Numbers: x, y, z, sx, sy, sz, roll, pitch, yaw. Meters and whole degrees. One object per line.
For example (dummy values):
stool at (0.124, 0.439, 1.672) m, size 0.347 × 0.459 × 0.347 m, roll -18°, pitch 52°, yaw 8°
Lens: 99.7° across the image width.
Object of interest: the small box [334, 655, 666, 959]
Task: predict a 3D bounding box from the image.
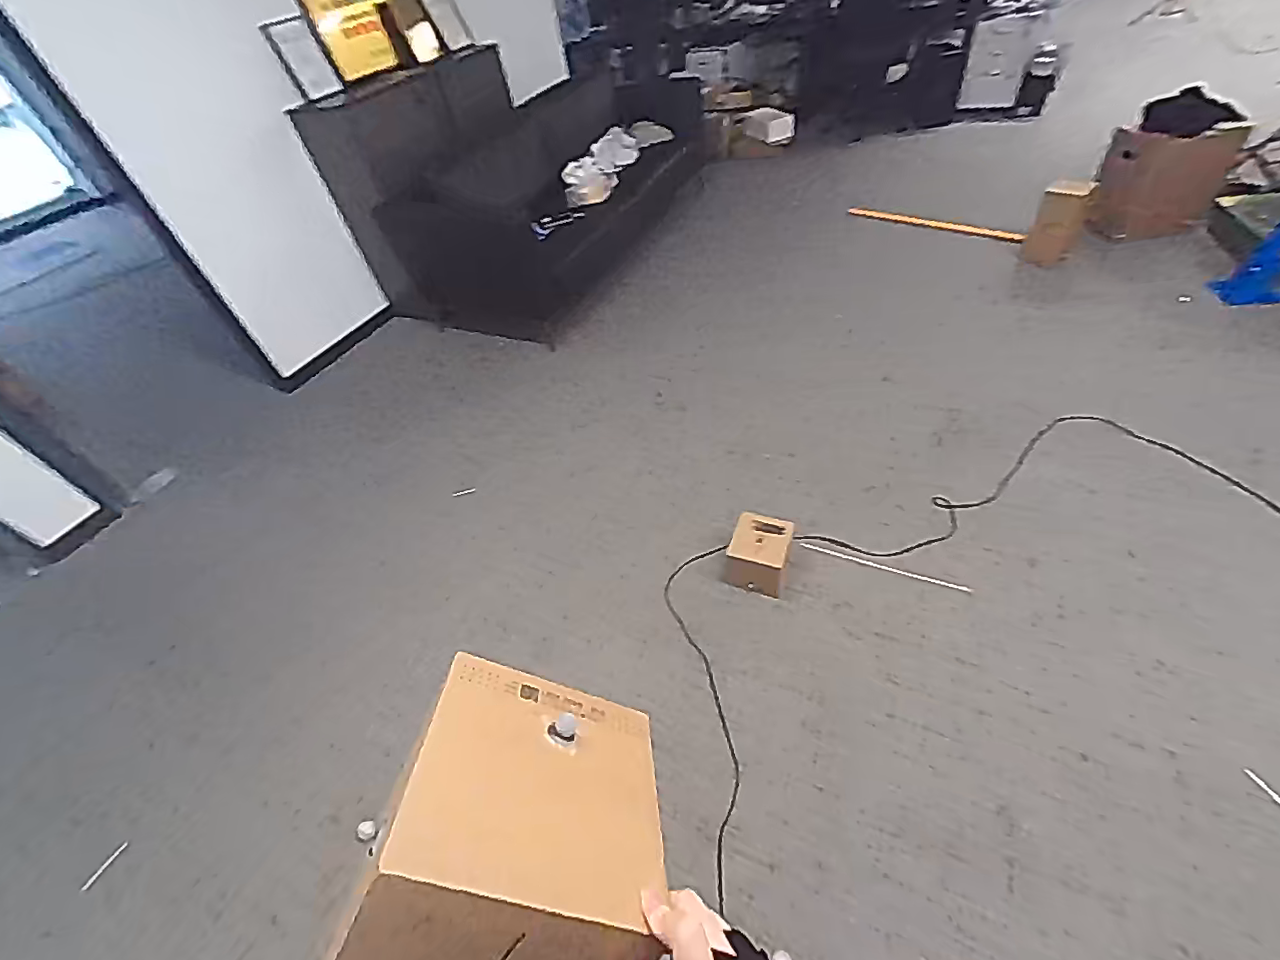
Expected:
small box at (-0.096, 0.267, 0.393) m, size 0.168 × 0.179 × 0.176 m, roll 23°, pitch 16°, yaw -11°
